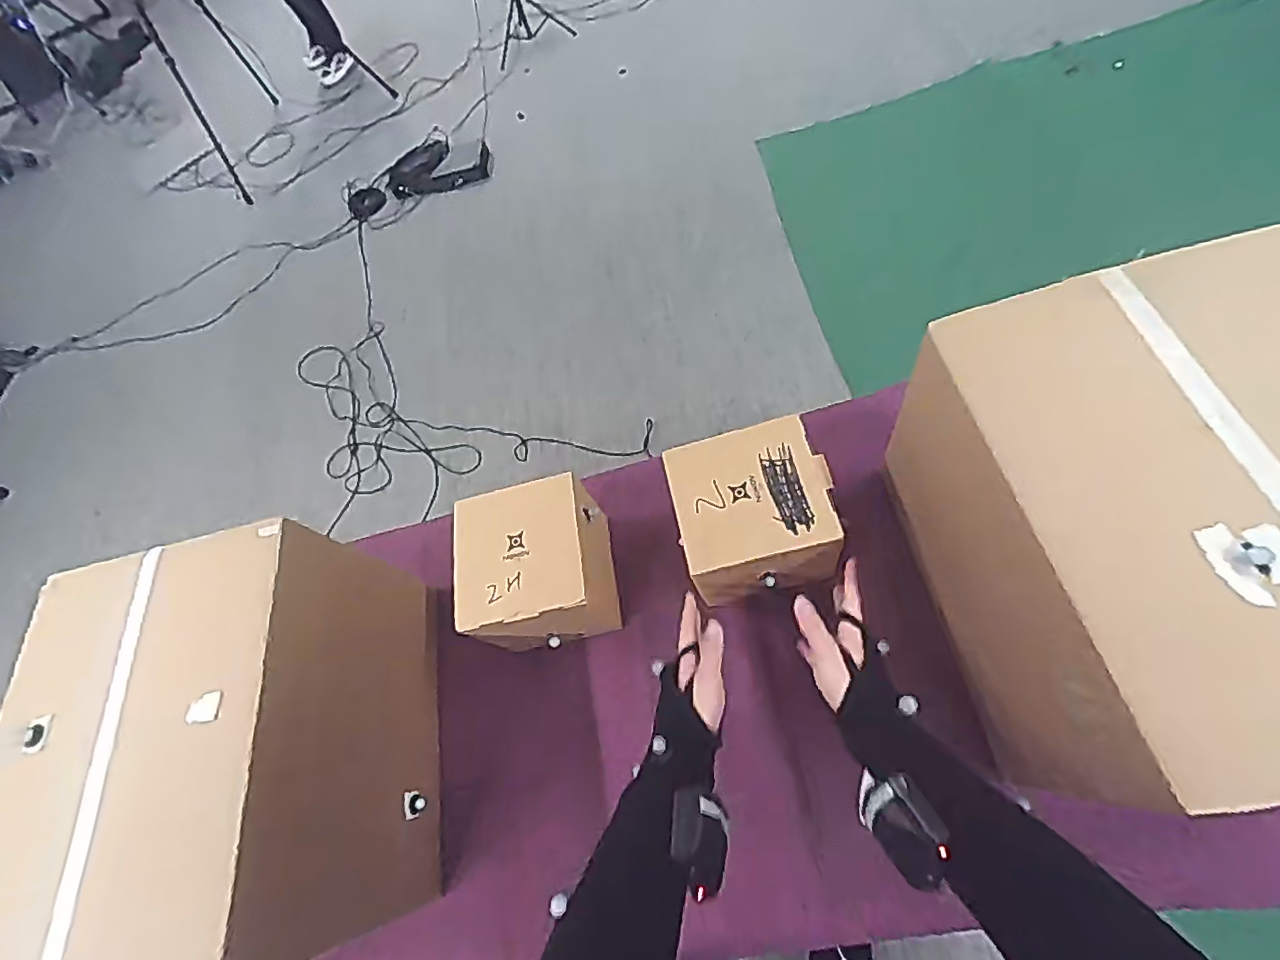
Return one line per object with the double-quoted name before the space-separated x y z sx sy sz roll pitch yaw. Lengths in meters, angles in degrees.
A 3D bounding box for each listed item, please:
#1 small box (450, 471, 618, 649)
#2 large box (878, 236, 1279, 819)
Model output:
"small box" -0.136 0.115 0.729 0.168 0.176 0.179 -14 62 8
"large box" 0.478 0.057 0.528 0.320 0.320 0.408 -14 63 9
